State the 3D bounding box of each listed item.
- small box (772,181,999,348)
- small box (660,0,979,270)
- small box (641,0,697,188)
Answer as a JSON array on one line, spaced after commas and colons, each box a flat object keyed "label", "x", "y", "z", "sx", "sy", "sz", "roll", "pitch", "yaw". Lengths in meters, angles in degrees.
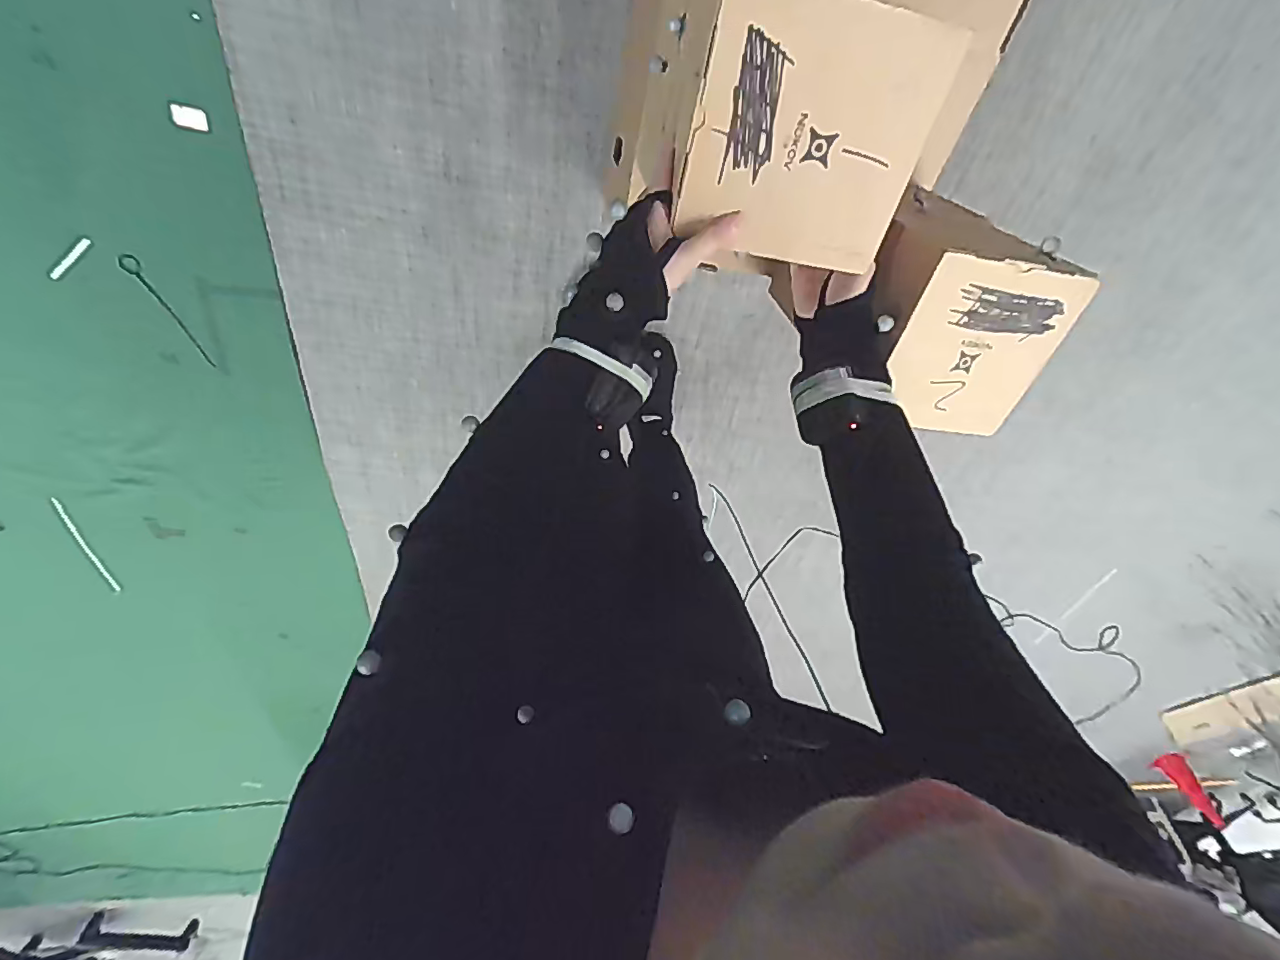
[{"label": "small box", "x": 0.296, "y": -0.289, "z": 0.697, "sx": 0.179, "sy": 0.176, "sz": 0.168, "roll": 4, "pitch": 129, "yaw": -11}, {"label": "small box", "x": 0.119, "y": -0.297, "z": 0.450, "sx": 0.179, "sy": 0.176, "sz": 0.168, "roll": 5, "pitch": 129, "yaw": -10}, {"label": "small box", "x": 0.100, "y": -0.407, "z": 0.574, "sx": 0.168, "sy": 0.176, "sz": 0.179, "roll": 6, "pitch": 128, "yaw": -11}]
